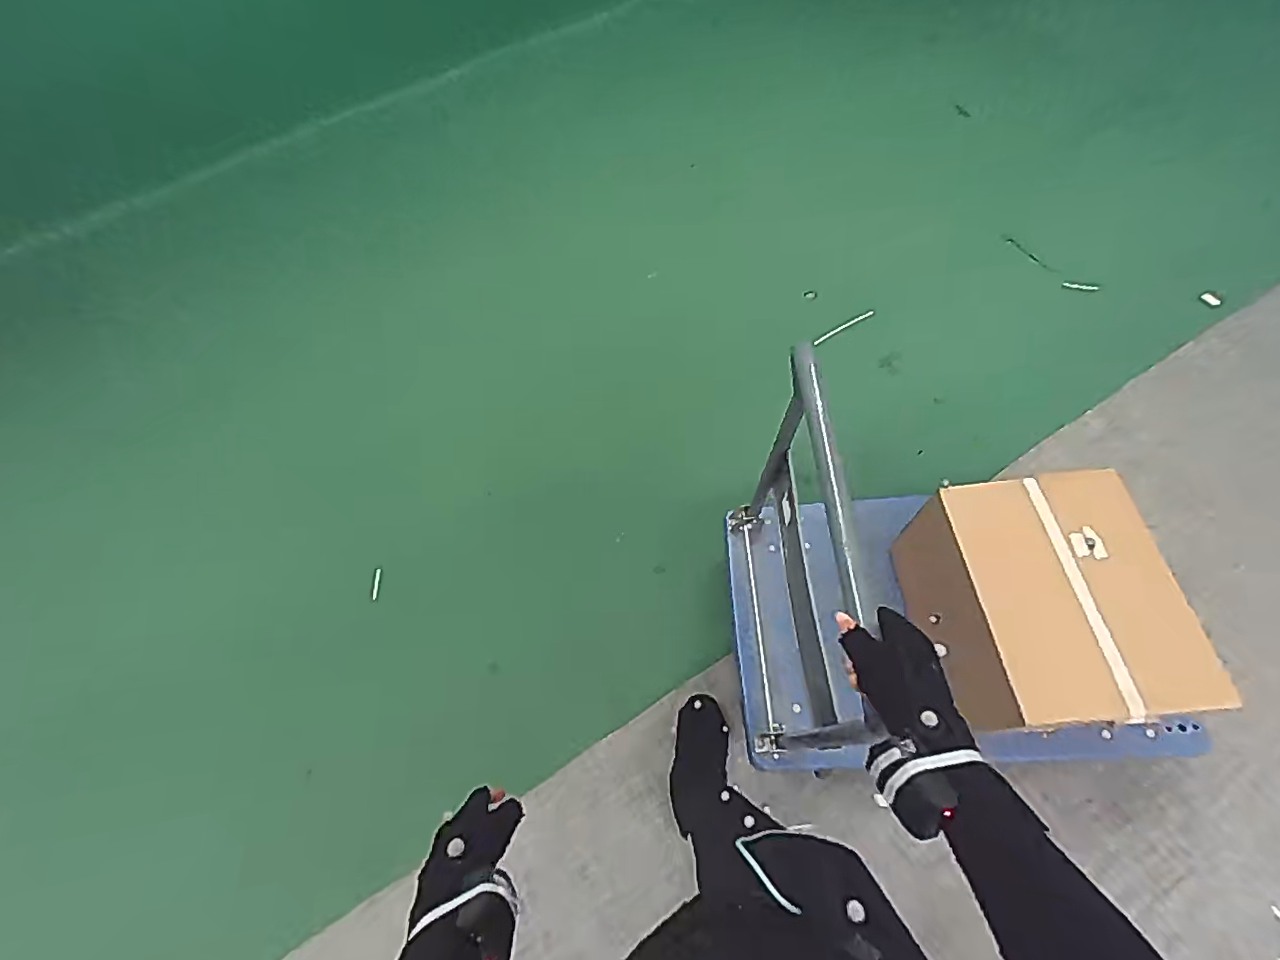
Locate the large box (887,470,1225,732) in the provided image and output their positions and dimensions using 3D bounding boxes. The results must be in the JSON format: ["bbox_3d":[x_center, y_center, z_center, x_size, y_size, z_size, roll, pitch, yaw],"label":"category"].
[{"bbox_3d":[0.724,0.242,1.036,0.320,0.320,0.408,-6,61,3],"label":"large box"}]
